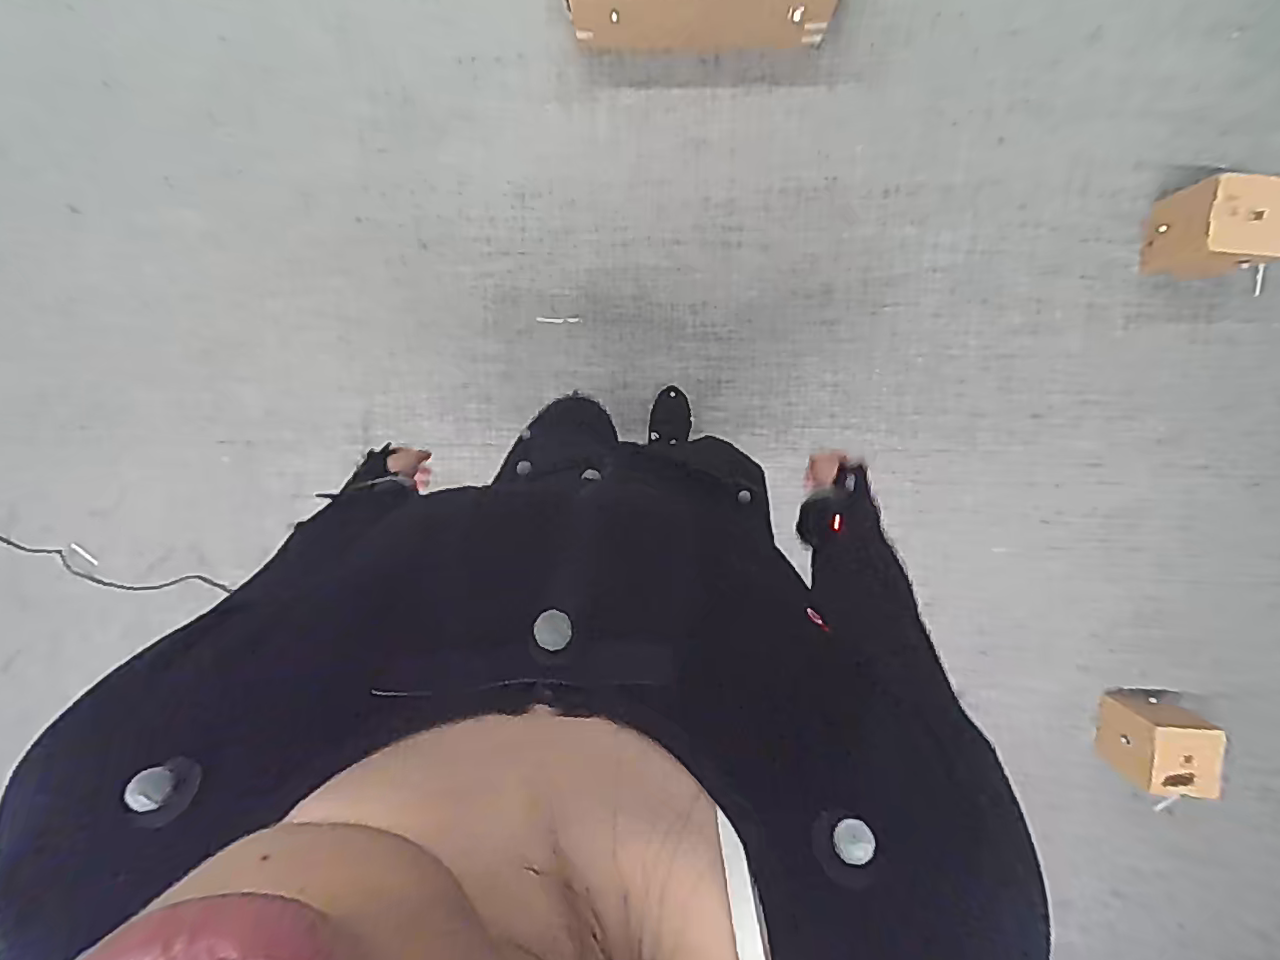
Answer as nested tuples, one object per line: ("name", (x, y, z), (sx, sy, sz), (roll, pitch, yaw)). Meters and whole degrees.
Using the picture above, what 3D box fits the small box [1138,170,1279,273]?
("small box", (1.333, -0.590, 1.256), (0.179, 0.176, 0.168), (6, 97, 2))

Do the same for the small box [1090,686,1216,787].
("small box", (1.336, 0.670, 1.422), (0.168, 0.176, 0.179), (2, 97, 3))
